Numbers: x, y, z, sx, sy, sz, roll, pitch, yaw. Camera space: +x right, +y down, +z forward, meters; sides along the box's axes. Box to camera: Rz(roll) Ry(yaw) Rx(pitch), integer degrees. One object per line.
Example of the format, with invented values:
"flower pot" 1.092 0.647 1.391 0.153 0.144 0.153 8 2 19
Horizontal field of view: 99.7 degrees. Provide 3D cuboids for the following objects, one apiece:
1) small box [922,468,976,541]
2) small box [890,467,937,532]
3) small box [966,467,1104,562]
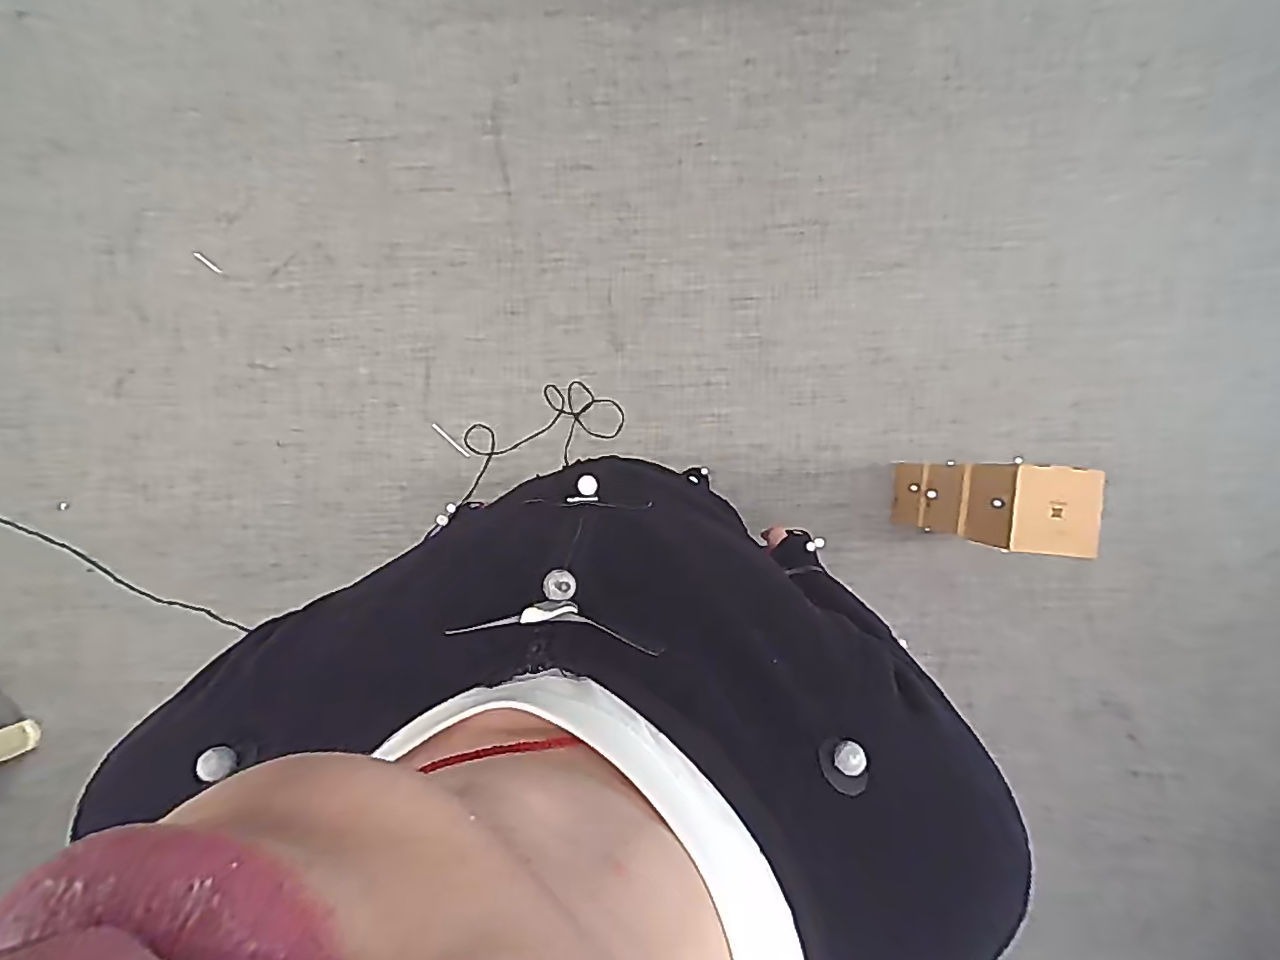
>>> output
"small box" 0.811 0.062 1.294 0.179 0.176 0.168 7 92 2
"small box" 0.807 0.055 1.459 0.179 0.176 0.168 5 92 1
"small box" 0.816 0.065 1.133 0.168 0.176 0.179 5 93 3
